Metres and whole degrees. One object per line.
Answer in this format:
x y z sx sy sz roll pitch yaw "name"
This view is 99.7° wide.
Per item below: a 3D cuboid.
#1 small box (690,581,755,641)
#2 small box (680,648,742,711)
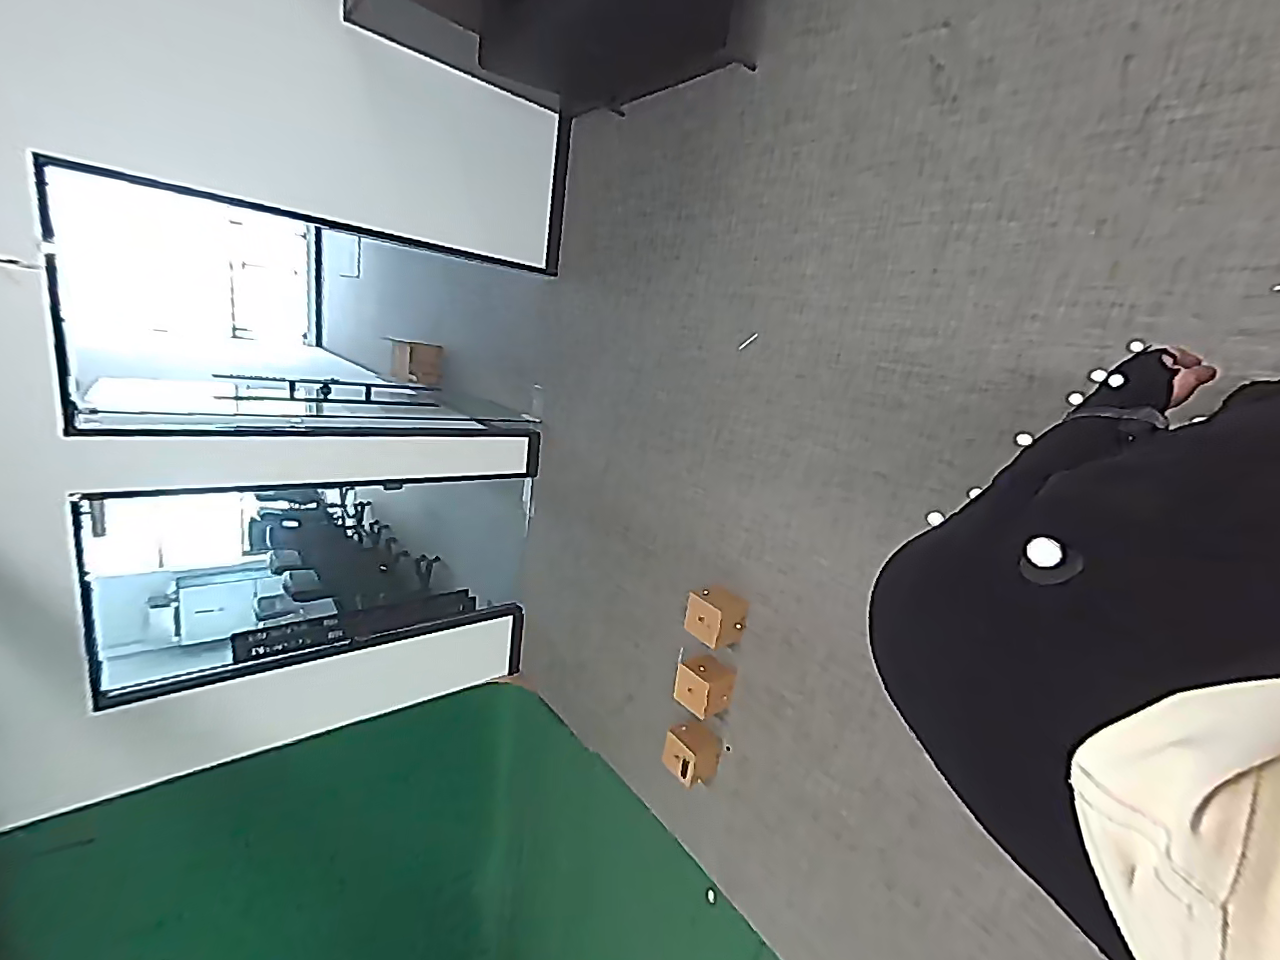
0.334 0.519 2.180 0.179 0.176 0.168 27 113 46 "small box"
0.296 0.822 2.255 0.179 0.176 0.168 22 110 47 "small box"
